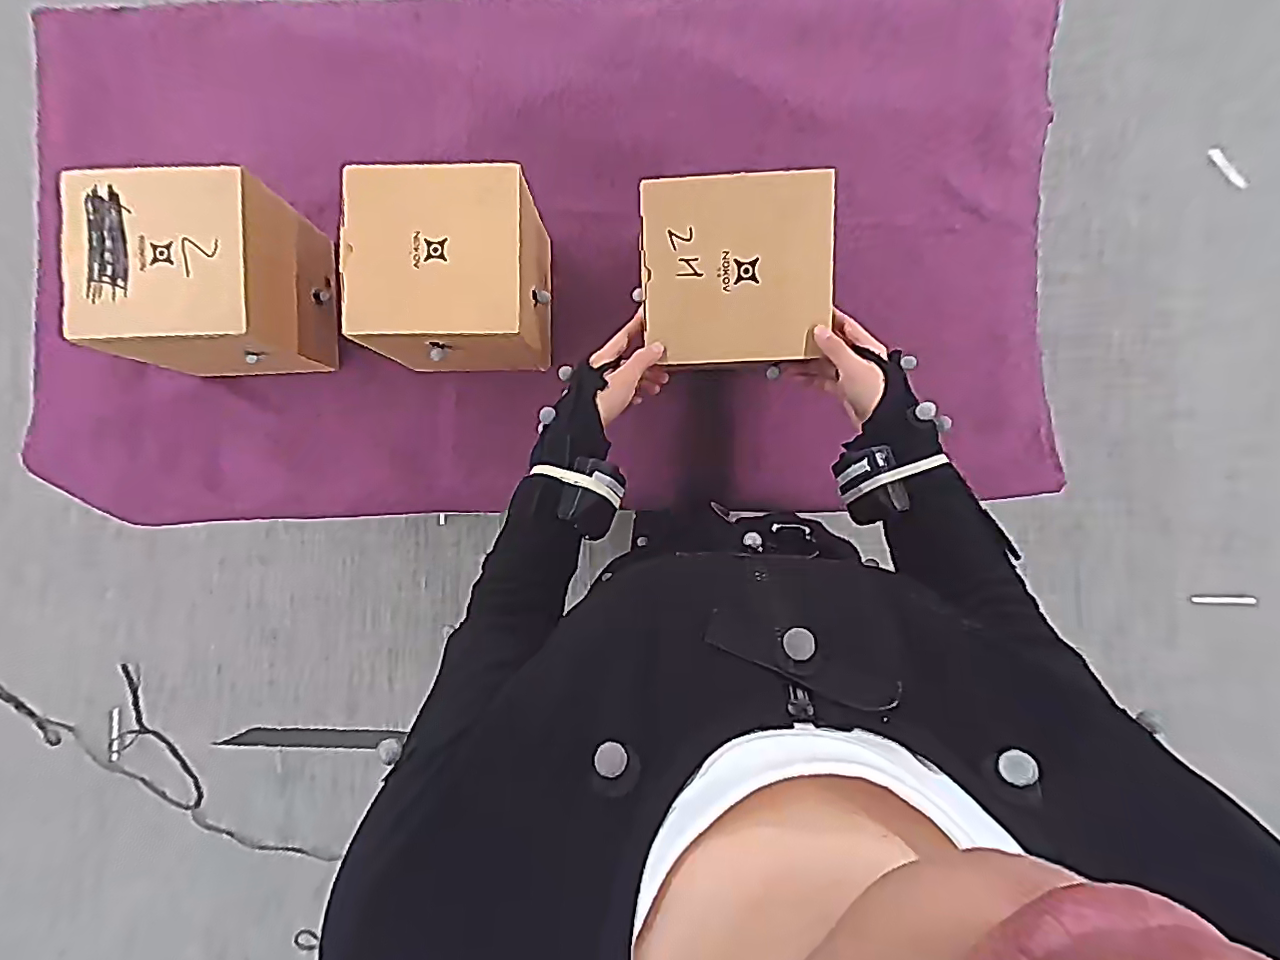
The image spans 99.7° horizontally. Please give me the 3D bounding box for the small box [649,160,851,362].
[{"bbox_3d":[0.100,-0.209,0.559,0.179,0.176,0.168,0,101,5],"label":"small box"}]

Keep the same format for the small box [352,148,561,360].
[{"bbox_3d":[-0.184,-0.231,0.591,0.179,0.176,0.168,1,90,2],"label":"small box"}]
